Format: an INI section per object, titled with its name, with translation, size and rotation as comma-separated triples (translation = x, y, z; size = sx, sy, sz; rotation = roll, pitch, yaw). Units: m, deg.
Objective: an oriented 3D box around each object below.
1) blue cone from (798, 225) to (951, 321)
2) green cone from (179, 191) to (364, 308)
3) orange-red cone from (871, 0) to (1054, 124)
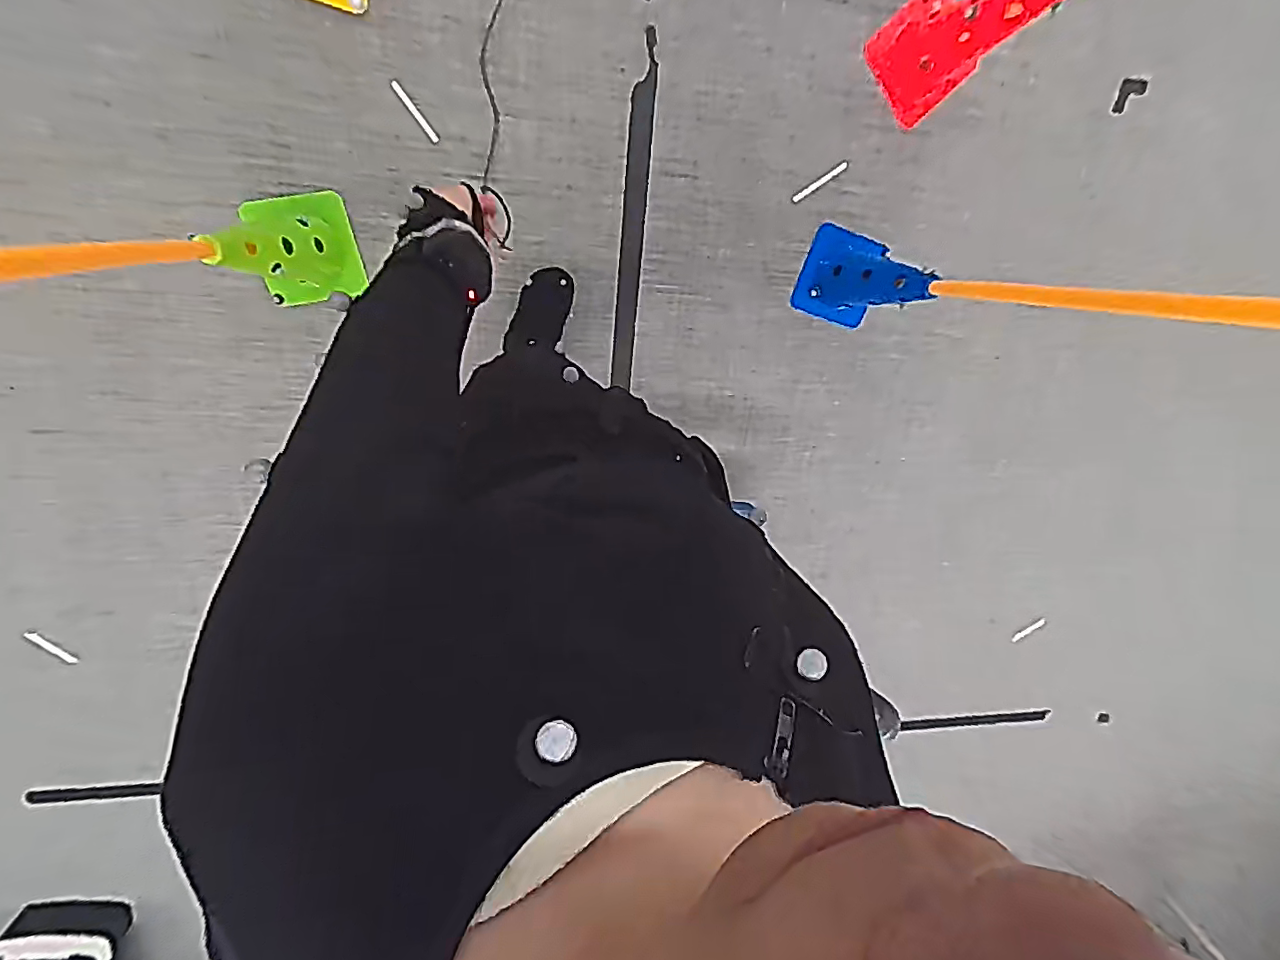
[blue cone]
translation = 0.507, -0.427, 1.137
size = 0.193, 0.380, 0.192
rotation = 15, 108, -15
[green cone]
translation = -0.658, -0.402, 0.937
size = 0.200, 0.368, 0.202
rotation = -12, 112, -5
[orange-red cone]
translation = 0.622, -0.824, 0.975
size = 0.199, 0.360, 0.198
rotation = -40, 112, 9
